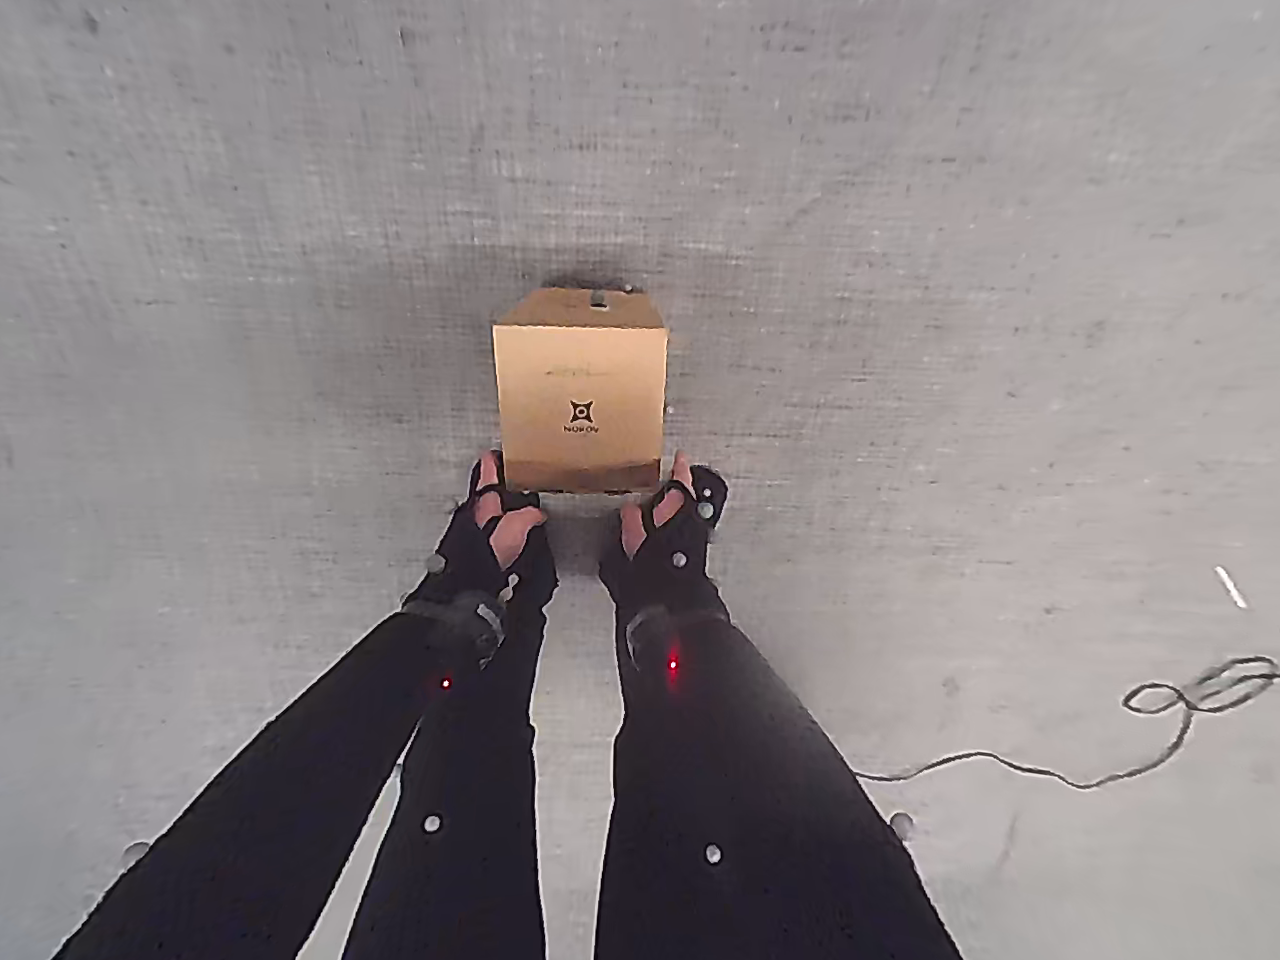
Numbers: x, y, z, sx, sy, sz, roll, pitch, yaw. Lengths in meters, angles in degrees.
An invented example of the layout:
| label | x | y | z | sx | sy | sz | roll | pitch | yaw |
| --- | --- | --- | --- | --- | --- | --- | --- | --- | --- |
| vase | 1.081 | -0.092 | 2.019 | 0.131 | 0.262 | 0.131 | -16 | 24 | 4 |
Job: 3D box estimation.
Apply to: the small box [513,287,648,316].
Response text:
| label | x | y | z | sx | sy | sz | roll | pitch | yaw |
| --- | --- | --- | --- | --- | --- | --- | --- | --- | --- |
| small box | -0.080 | -0.167 | 0.750 | 0.168 | 0.176 | 0.179 | 2 | 116 | -3 |

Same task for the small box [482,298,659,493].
| label | x | y | z | sx | sy | sz | roll | pitch | yaw |
| --- | --- | --- | --- | --- | --- | --- | --- | --- | --- |
| small box | -0.069 | -0.100 | 0.603 | 0.168 | 0.176 | 0.179 | -1 | 115 | -3 |
